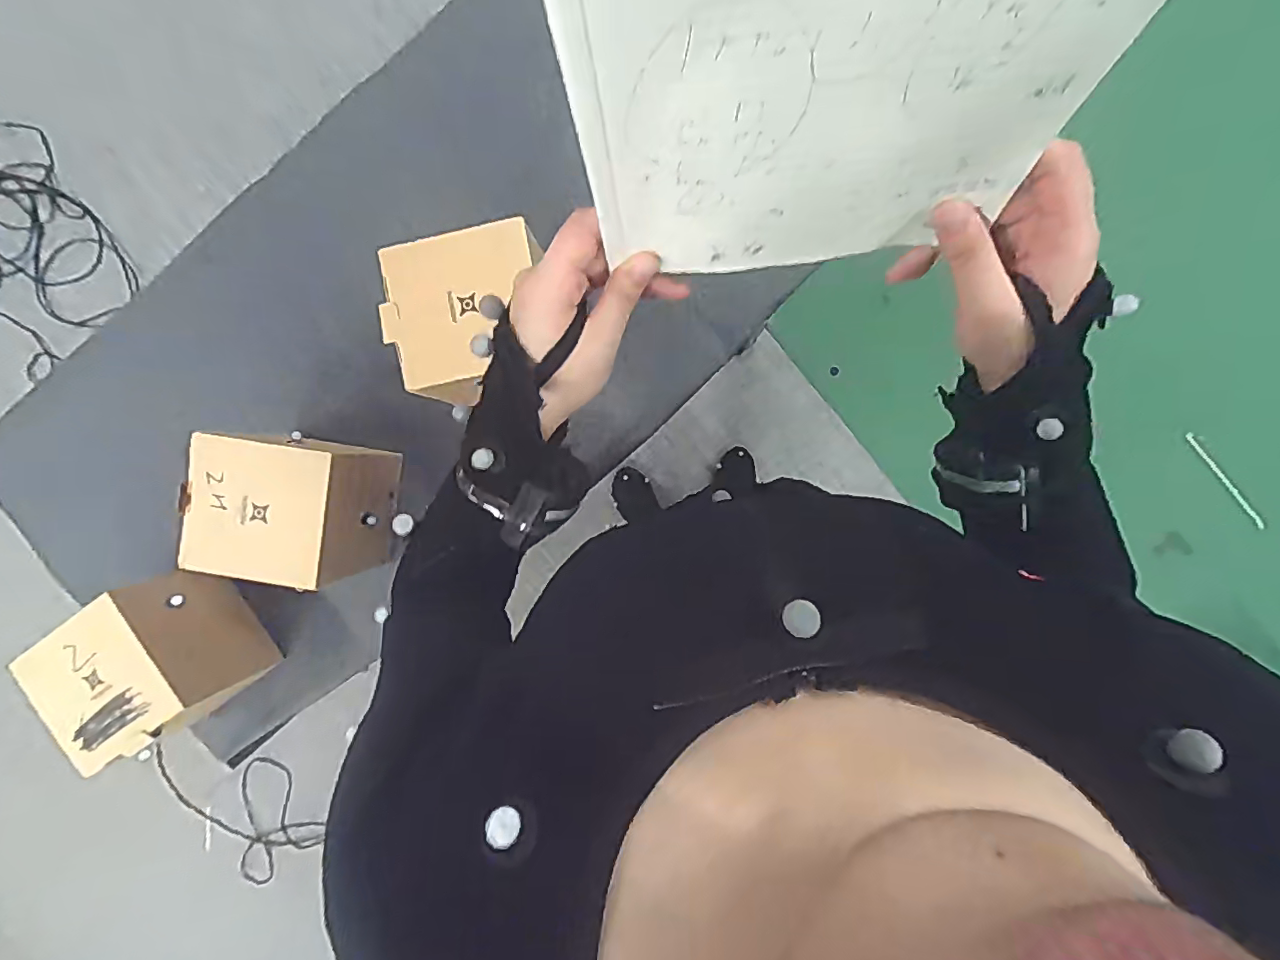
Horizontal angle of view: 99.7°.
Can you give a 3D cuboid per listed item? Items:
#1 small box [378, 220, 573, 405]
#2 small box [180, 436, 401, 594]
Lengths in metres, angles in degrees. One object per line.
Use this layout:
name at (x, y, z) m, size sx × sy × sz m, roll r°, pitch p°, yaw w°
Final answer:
small box at (-0.190, -0.196, 0.683) m, size 0.179 × 0.176 × 0.168 m, roll -11°, pitch 91°, yaw 5°
small box at (-0.442, 0.037, 0.710) m, size 0.179 × 0.176 × 0.168 m, roll 9°, pitch 92°, yaw 4°
